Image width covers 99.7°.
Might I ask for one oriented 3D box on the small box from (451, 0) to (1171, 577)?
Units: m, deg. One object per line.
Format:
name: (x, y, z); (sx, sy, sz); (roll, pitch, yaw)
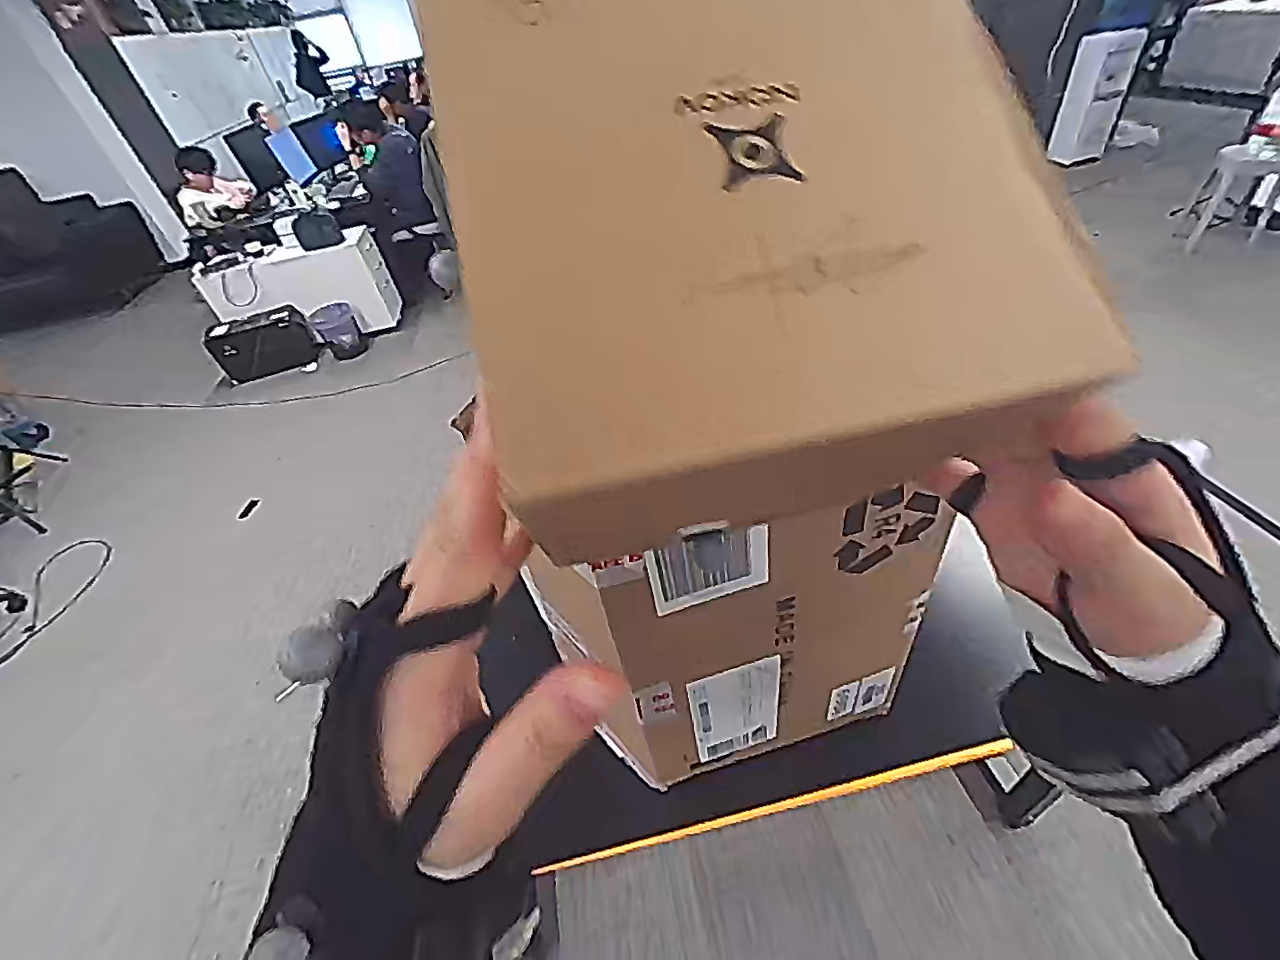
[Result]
small box: (0.034, -0.066, 0.226); (0.168, 0.176, 0.179); (-12, 78, -6)
